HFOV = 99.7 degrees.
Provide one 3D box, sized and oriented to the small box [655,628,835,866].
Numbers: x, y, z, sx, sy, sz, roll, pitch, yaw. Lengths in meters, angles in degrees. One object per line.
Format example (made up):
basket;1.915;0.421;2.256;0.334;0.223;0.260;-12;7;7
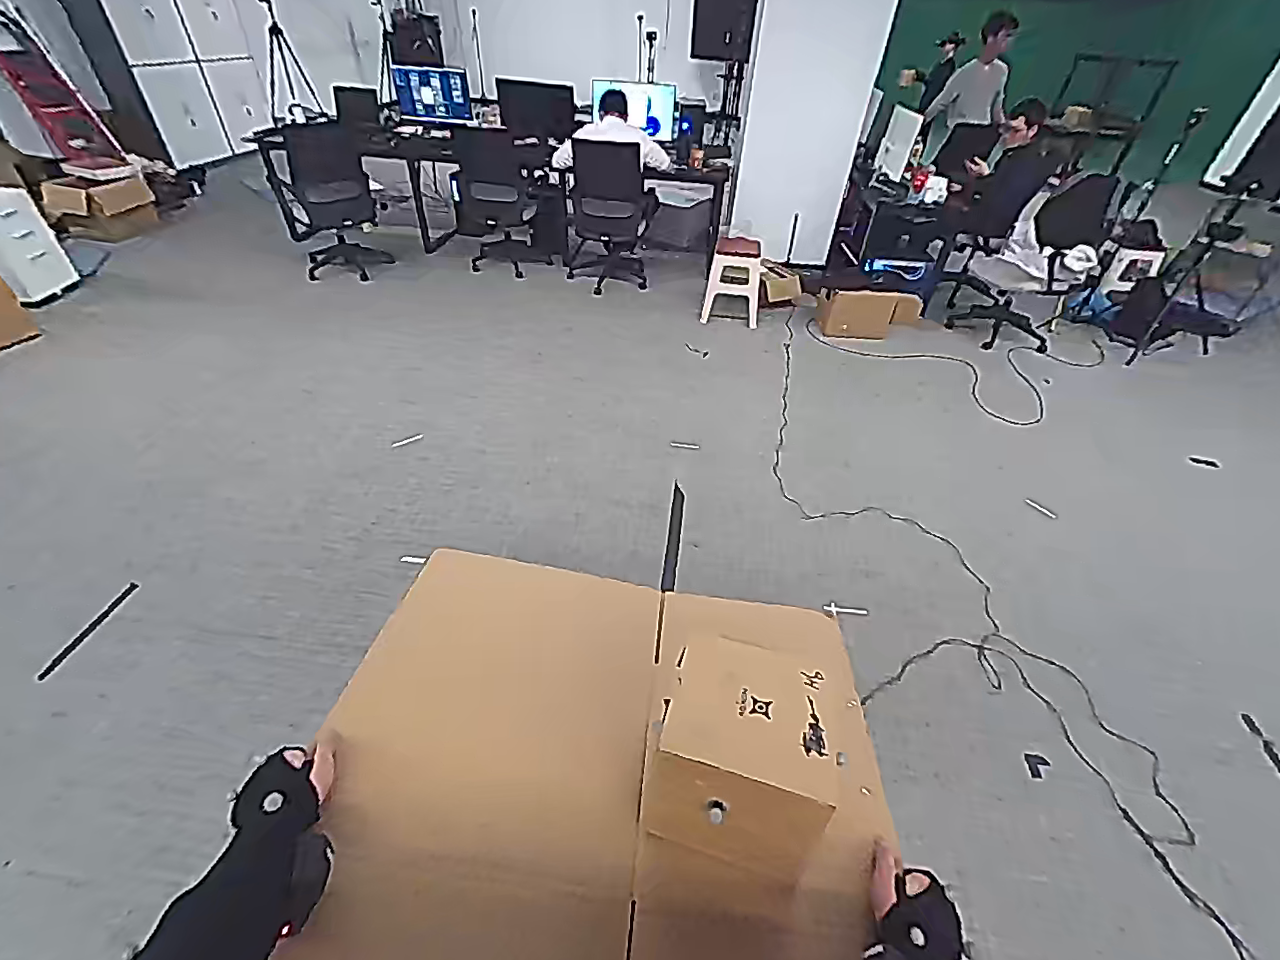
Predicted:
small box;0.120;0.308;0.632;0.179;0.176;0.168;11;34;12
